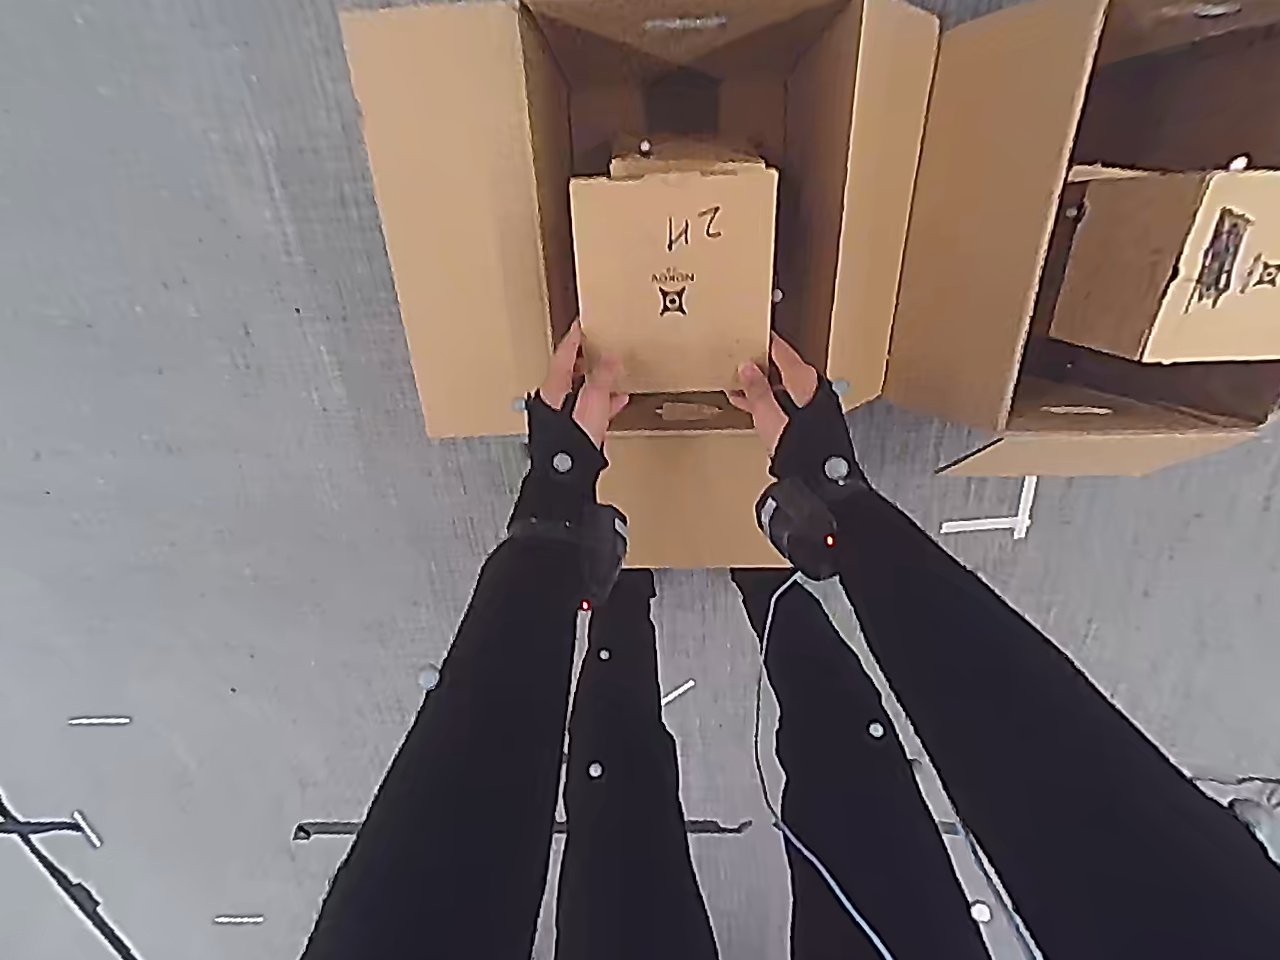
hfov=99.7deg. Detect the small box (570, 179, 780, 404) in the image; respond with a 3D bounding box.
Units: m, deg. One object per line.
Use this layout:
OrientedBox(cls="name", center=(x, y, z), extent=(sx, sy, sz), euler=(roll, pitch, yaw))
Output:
OrientedBox(cls="small box", center=(0.034, -0.180, 0.521), extent=(0.168, 0.176, 0.179), euler=(-1, 112, 4))
